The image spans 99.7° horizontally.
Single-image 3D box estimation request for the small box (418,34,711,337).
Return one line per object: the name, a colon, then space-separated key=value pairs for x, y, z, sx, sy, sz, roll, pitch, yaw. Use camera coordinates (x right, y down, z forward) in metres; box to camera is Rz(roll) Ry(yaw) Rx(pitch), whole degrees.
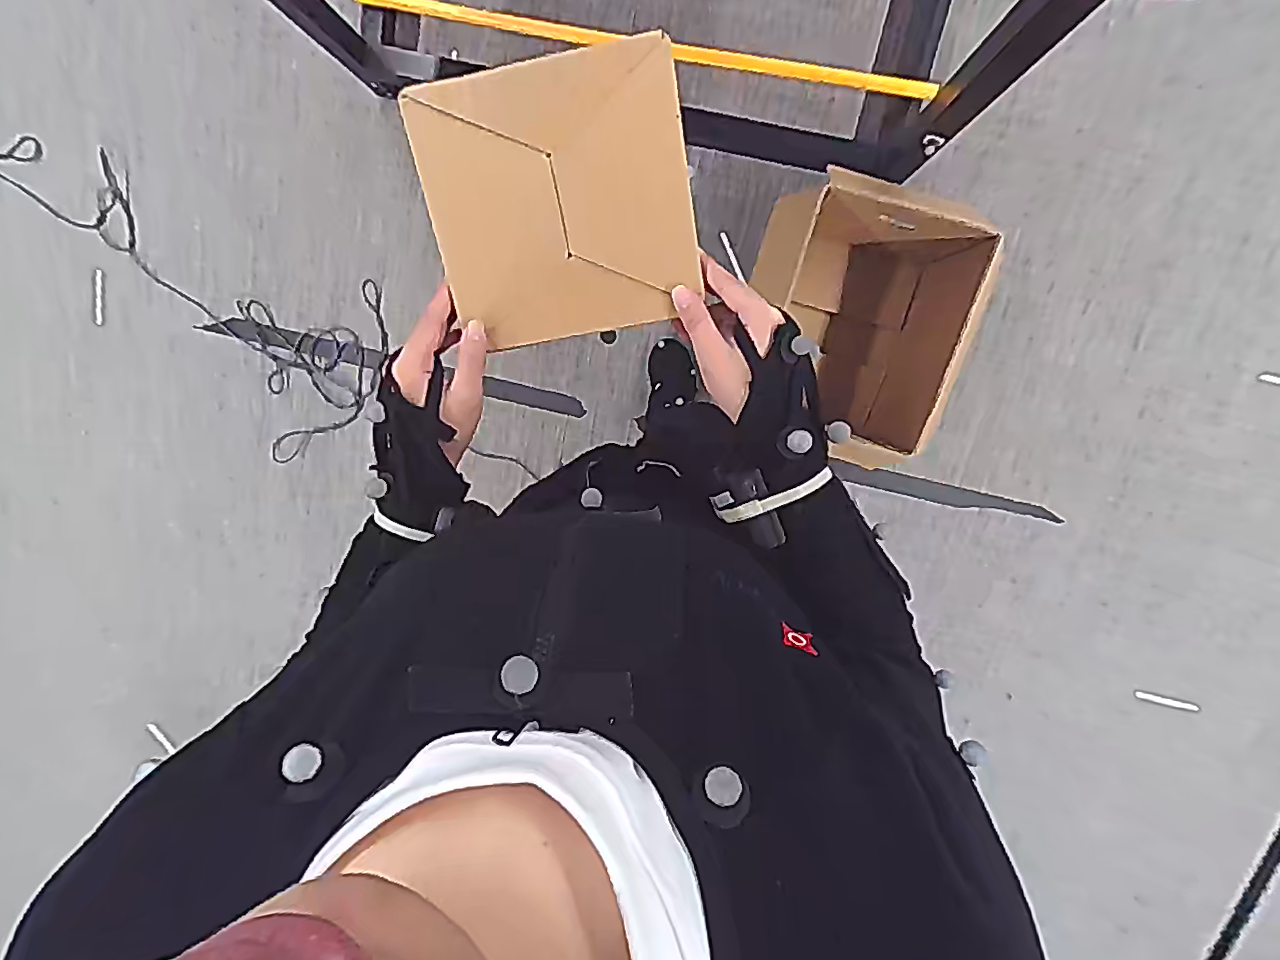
small box: x=-0.049 y=-0.212 z=0.433 sx=0.179 sy=0.176 sz=0.168 roll=-9 pitch=107 yaw=4
